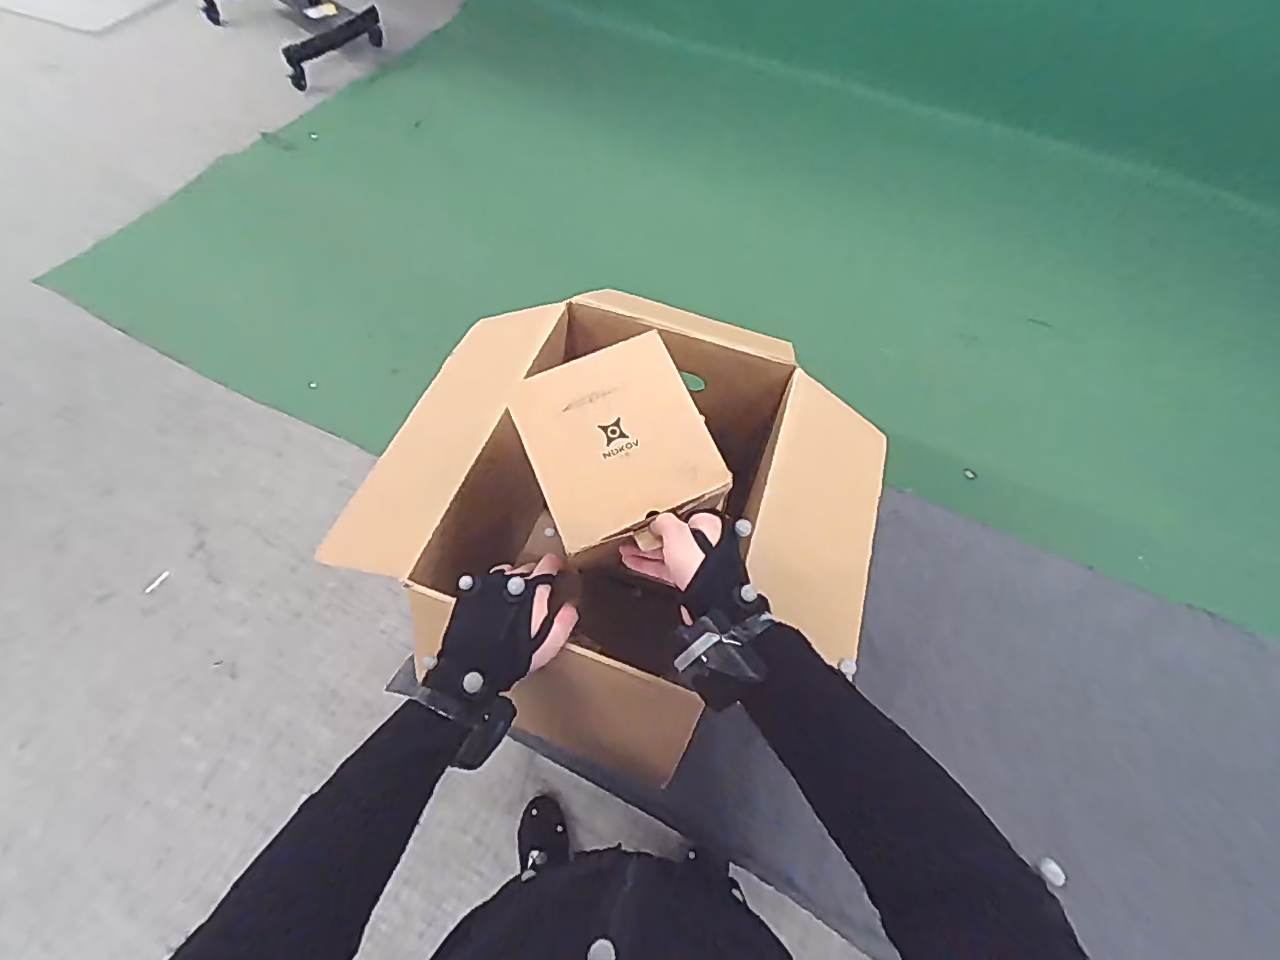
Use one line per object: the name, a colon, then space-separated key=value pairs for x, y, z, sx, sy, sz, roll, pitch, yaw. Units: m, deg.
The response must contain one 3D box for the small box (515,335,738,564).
small box: x=-0.016 y=-0.018 z=0.588 sx=0.168 sy=0.176 sz=0.179 roll=-23 pitch=75 yaw=-9
